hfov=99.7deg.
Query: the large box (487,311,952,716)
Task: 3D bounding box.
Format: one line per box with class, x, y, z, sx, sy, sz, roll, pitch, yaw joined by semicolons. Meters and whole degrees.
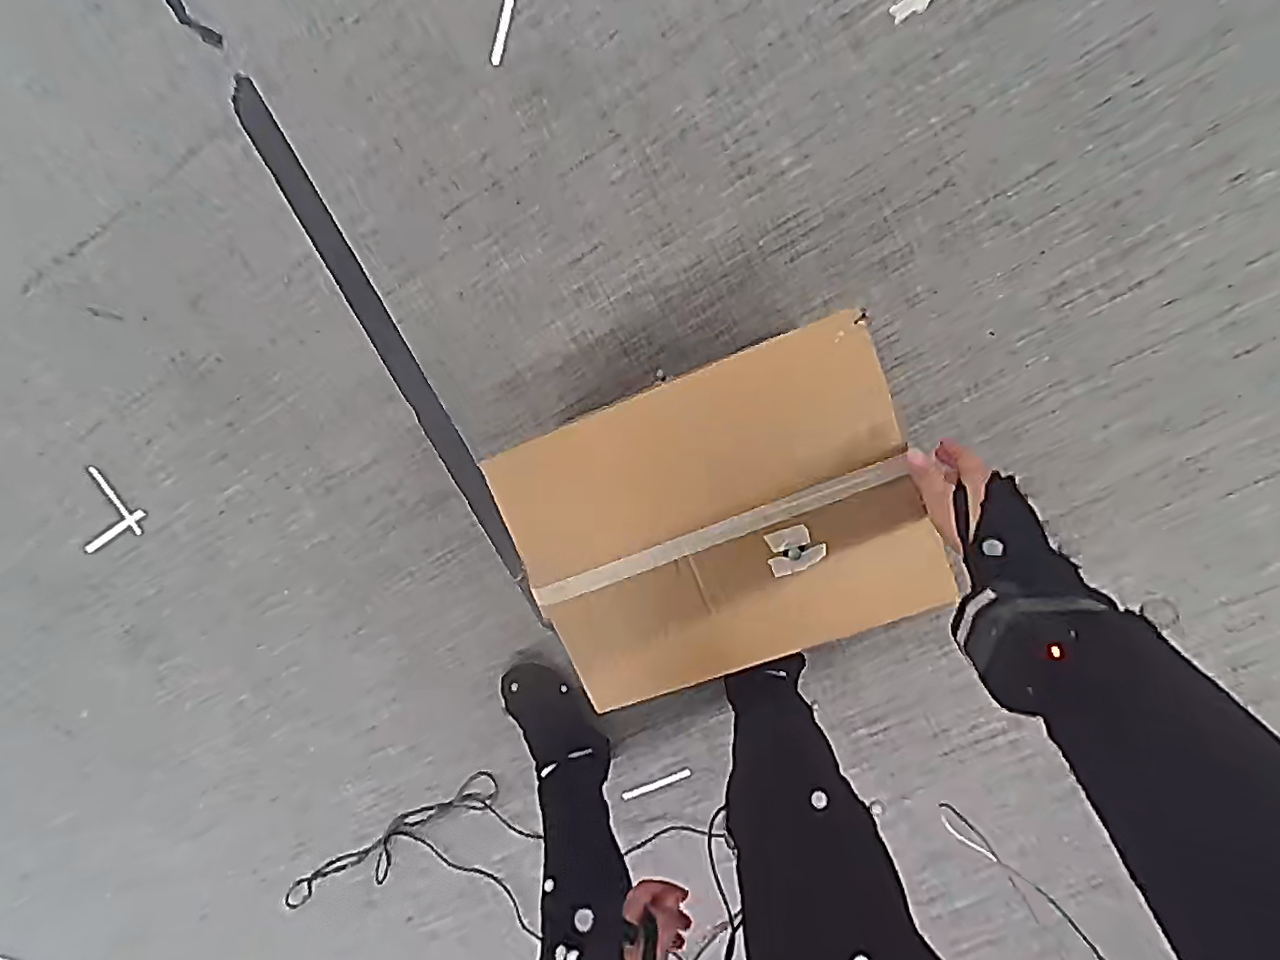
large box;0.089;0.026;0.699;0.408;0.320;0.320;-22;100;8
